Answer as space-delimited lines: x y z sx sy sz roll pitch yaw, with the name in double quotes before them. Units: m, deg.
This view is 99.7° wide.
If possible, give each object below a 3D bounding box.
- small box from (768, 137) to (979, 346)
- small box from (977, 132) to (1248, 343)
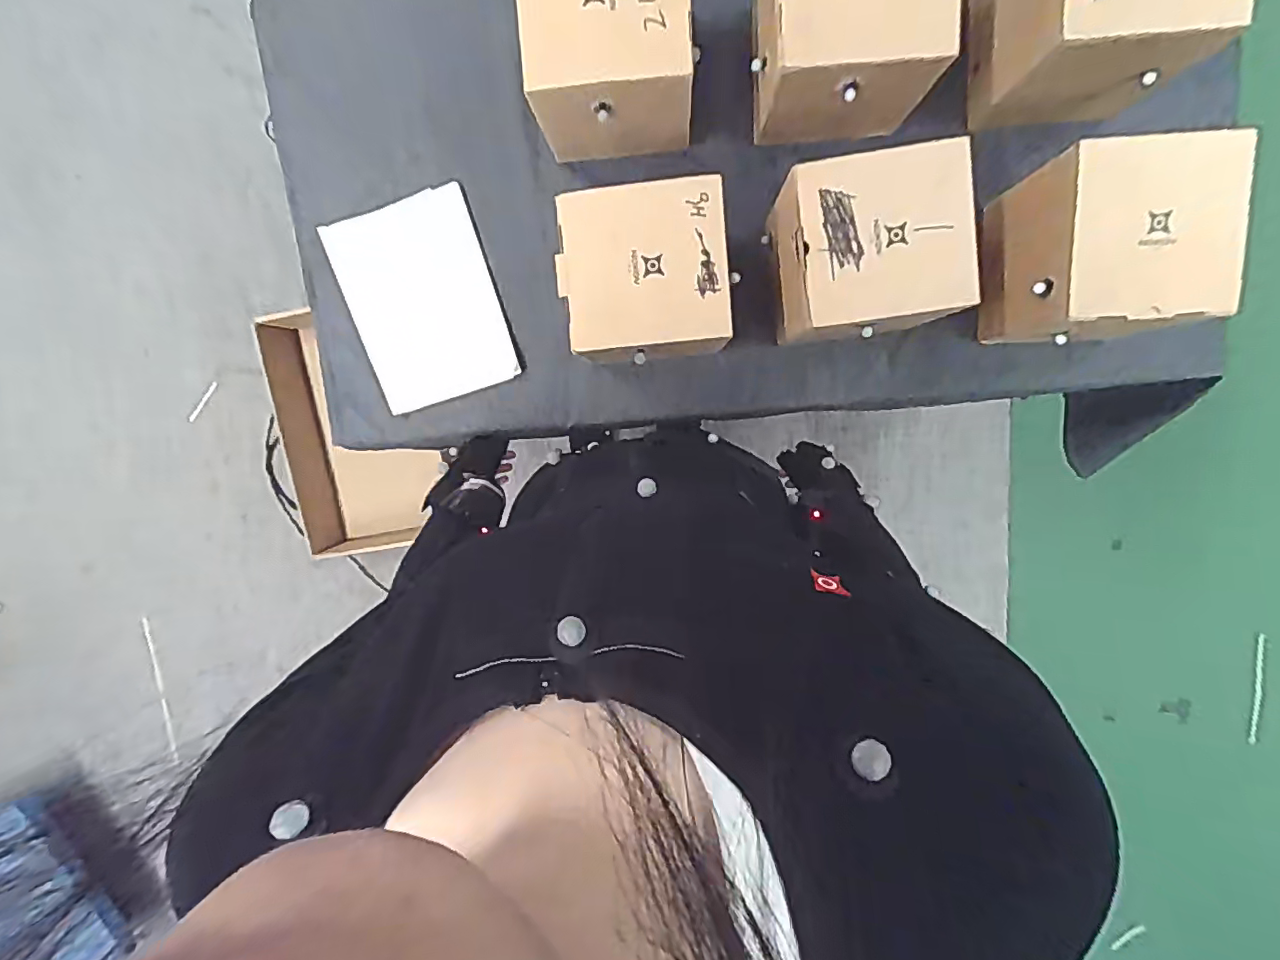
"small box" 0.252 -0.257 0.626 0.179 0.176 0.168 -8 96 3
"small box" 0.514 -0.259 0.616 0.168 0.176 0.179 -2 97 3
